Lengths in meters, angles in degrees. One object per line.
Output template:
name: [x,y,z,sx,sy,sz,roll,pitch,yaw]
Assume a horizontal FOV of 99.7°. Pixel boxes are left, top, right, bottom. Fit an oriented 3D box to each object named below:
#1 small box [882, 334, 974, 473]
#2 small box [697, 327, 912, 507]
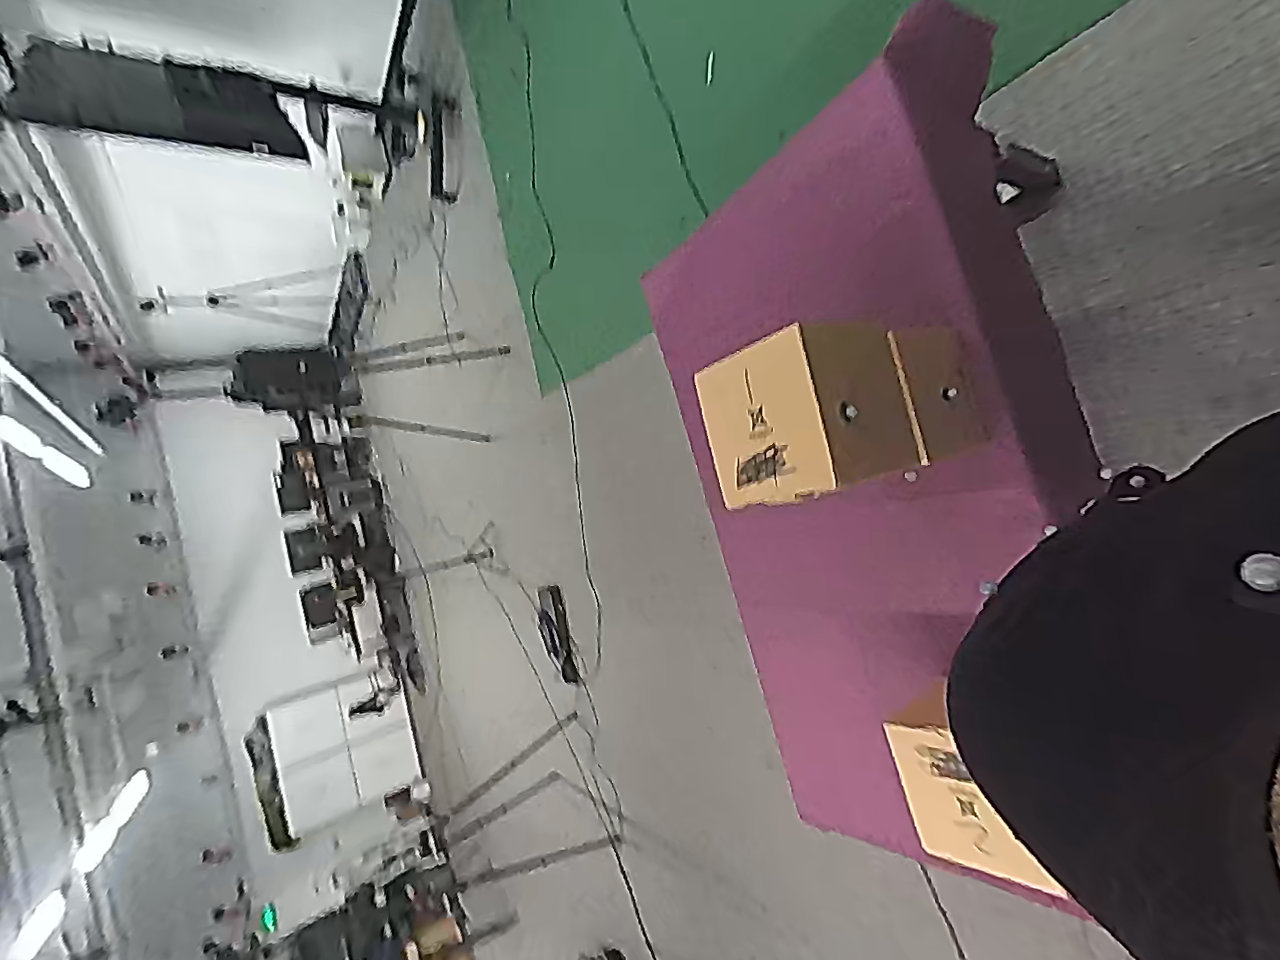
small box: [0.334,-0.097,0.753,0.179,0.176,0.168,-18,85,54]
small box: [0.200,-0.076,0.659,0.168,0.176,0.179,-16,86,54]
